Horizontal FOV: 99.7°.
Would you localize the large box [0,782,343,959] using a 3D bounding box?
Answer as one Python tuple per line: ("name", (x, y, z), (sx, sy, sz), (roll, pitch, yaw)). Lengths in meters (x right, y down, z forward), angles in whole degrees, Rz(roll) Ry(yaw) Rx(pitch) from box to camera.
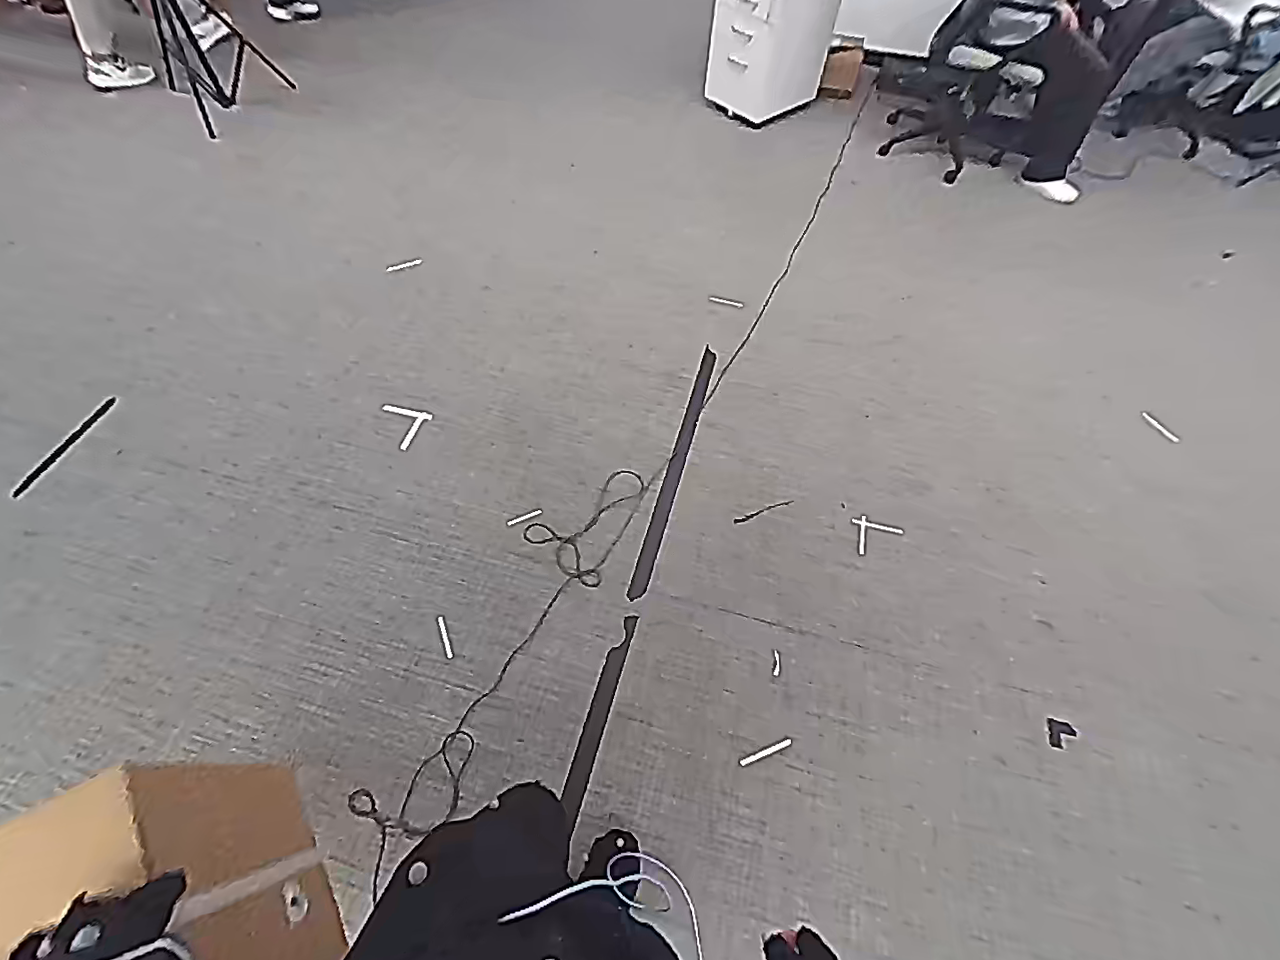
("large box", (-0.619, 0.597, 0.632), (0.320, 0.408, 0.320), (-27, 69, -22))
